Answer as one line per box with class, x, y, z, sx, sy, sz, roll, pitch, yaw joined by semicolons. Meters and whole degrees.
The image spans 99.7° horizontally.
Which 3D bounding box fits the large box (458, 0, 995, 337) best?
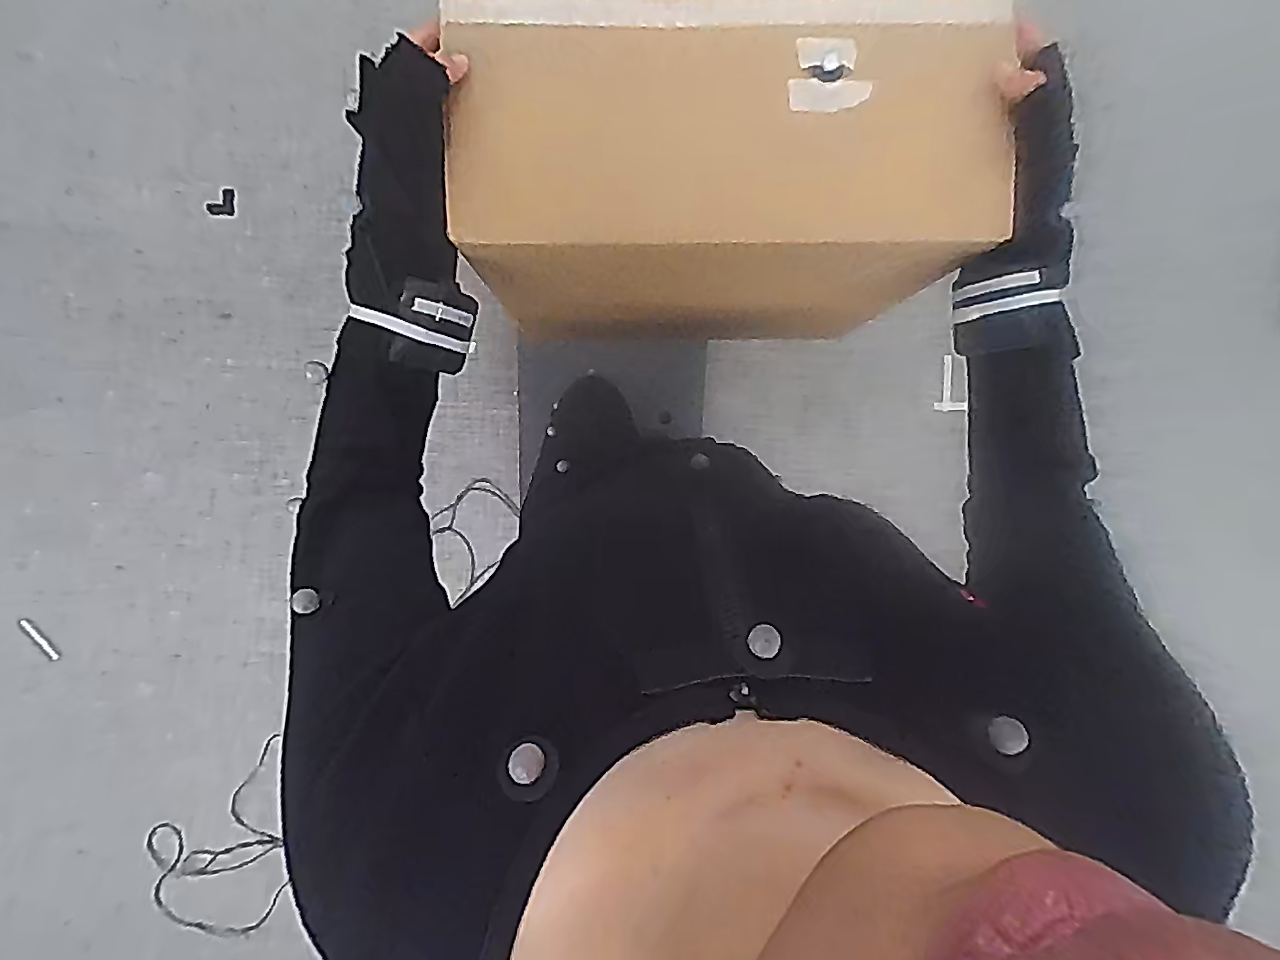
large box;0.059;-0.338;0.546;0.408;0.320;0.320;-1;92;-2
